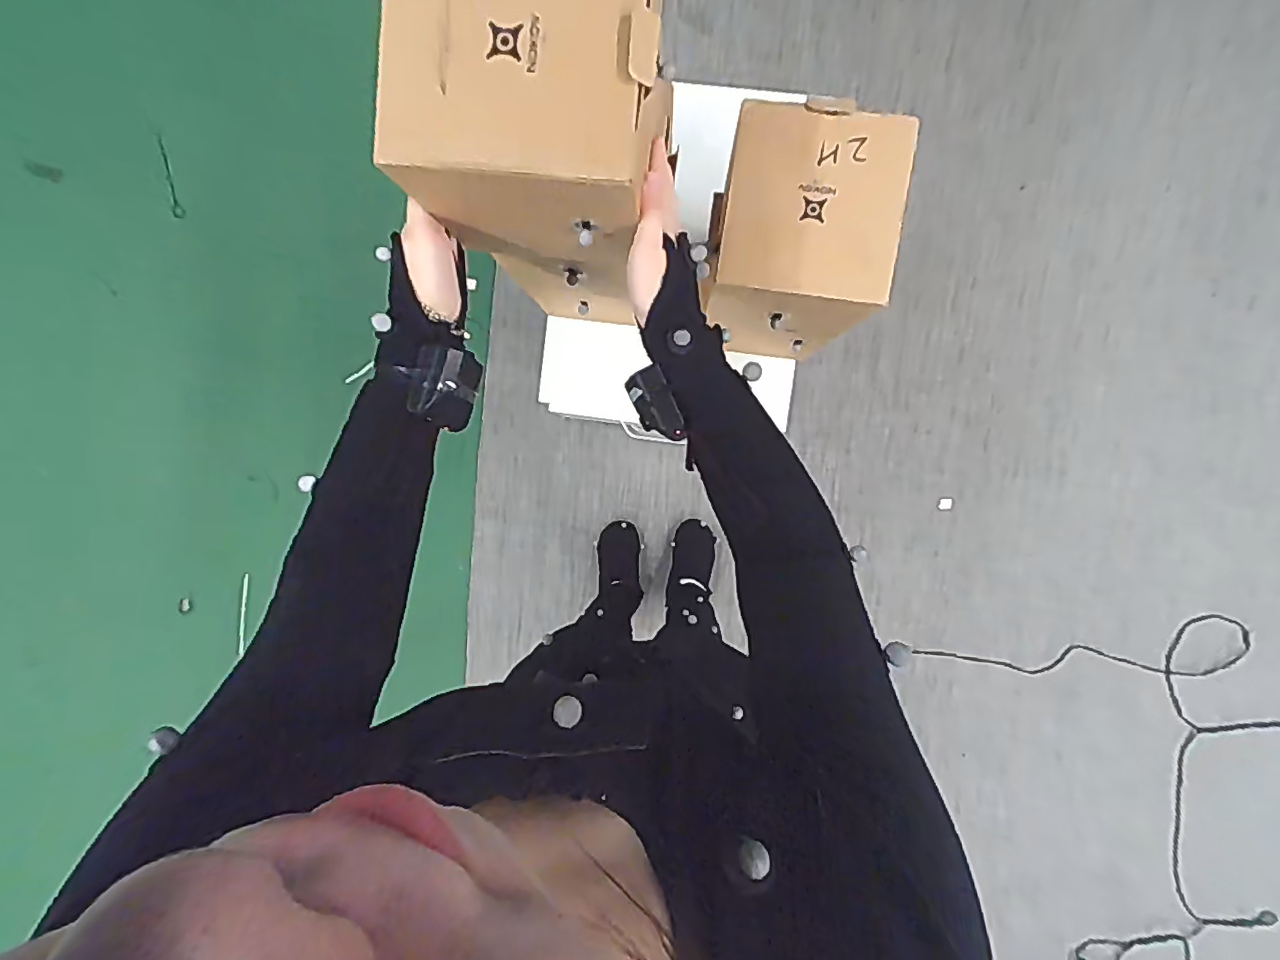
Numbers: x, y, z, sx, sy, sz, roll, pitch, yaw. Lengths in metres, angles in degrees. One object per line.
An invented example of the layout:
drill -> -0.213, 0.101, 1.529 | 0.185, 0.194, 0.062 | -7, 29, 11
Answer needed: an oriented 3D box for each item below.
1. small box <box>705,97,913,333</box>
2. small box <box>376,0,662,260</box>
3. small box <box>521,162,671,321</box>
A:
small box -> 0.166, -0.269, 0.591 | 0.168, 0.176, 0.179 | 9, 94, 2
small box -> -0.077, -0.286, 0.427 | 0.179, 0.176, 0.168 | 6, 94, 4
small box -> -0.055, -0.330, 0.761 | 0.179, 0.176, 0.168 | 7, 95, 1
